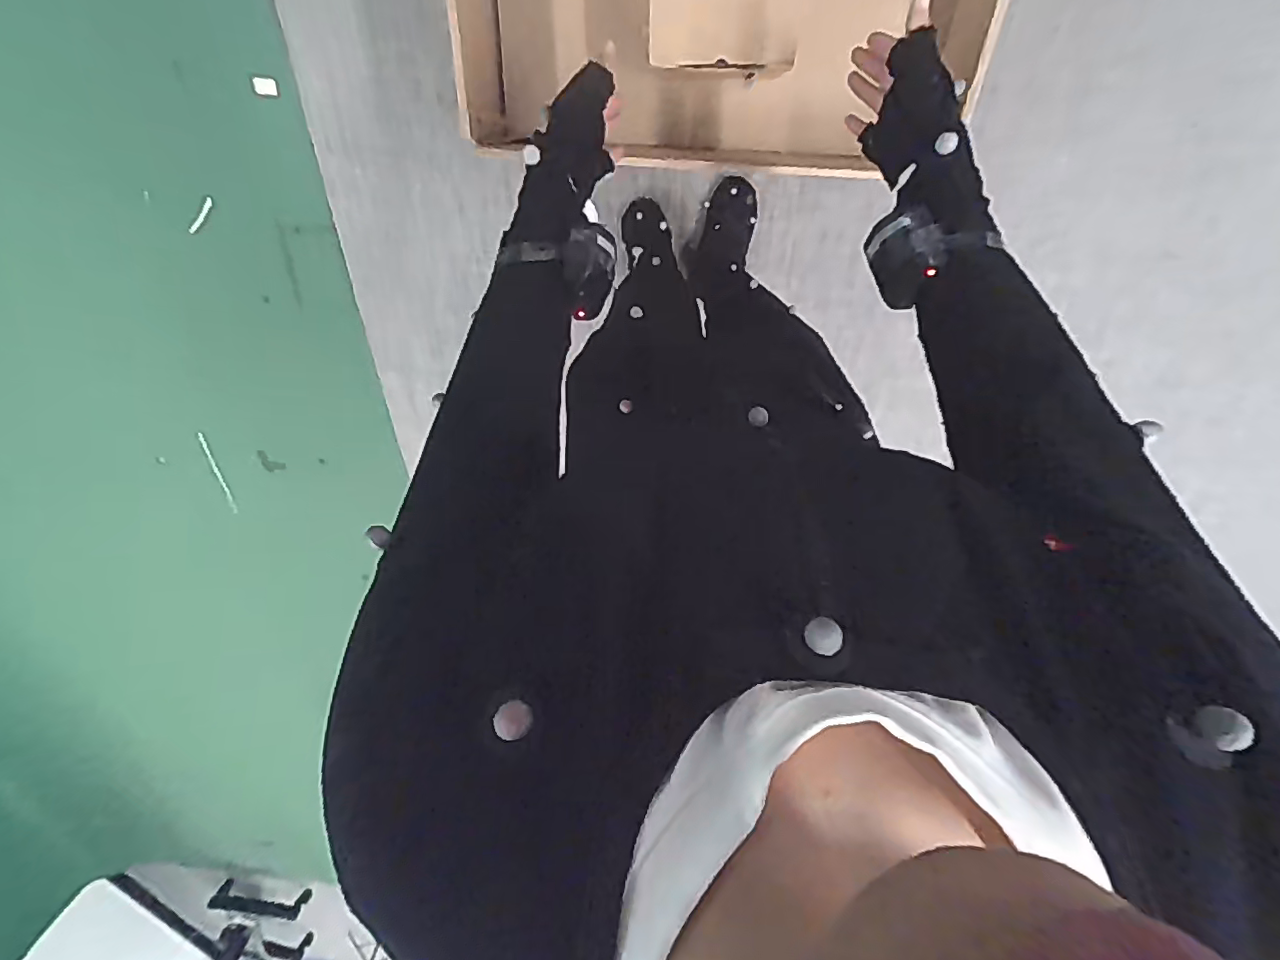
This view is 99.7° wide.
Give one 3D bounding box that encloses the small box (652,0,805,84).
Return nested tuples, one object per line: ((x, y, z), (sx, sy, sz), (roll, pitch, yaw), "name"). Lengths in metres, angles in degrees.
((0.104, -0.578, 0.634), (0.168, 0.176, 0.179), (3, 122, 4), "small box")

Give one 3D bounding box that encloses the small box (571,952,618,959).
((-0.162, 1.755, 1.851), (0.168, 0.176, 0.179), (2, 123, 6), "small box")
